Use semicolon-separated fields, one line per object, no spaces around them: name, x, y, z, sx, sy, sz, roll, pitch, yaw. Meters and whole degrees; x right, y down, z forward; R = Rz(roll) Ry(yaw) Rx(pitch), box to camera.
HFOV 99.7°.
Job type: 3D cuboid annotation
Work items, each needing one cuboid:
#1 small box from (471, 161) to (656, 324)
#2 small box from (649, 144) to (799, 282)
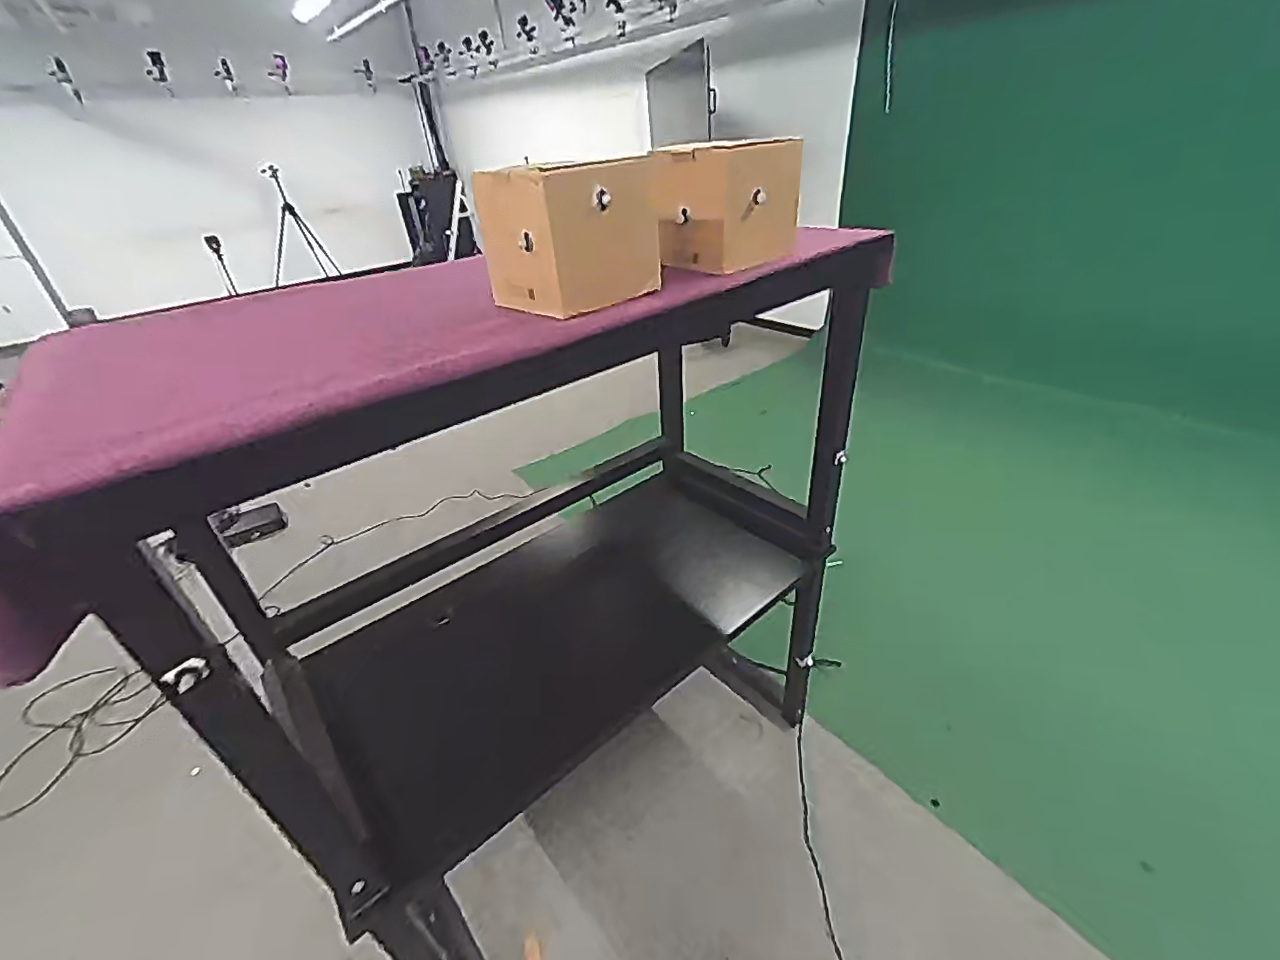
small box;-0.092;-0.317;0.721;0.179;0.176;0.168;-29;38;-33
small box;0.133;-0.426;0.864;0.179;0.176;0.168;-29;40;-31
